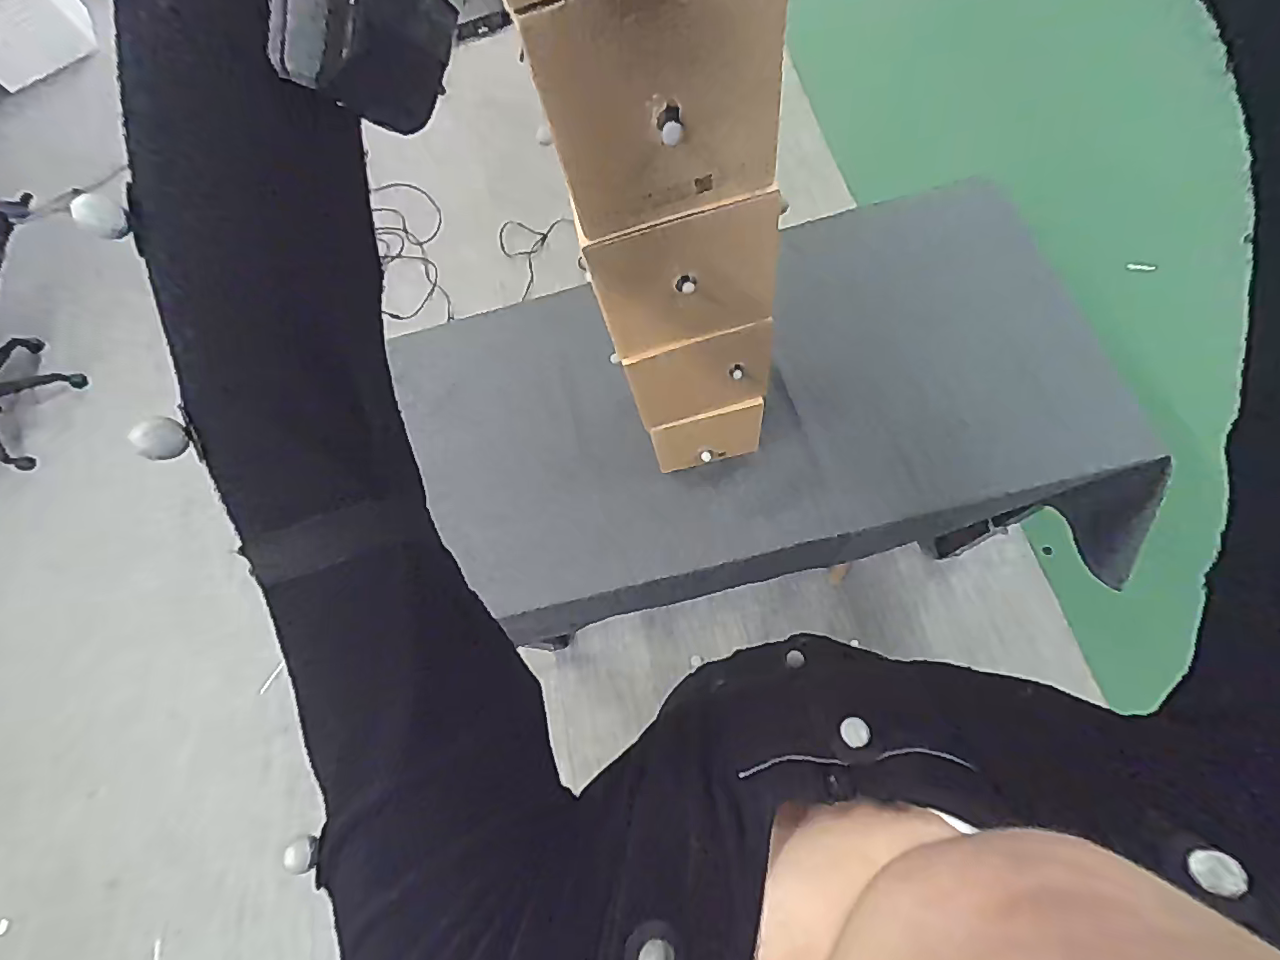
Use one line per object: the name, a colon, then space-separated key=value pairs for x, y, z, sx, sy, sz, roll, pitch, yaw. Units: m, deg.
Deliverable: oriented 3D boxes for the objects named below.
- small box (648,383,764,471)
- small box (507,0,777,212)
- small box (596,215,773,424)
small box: x=0.087 y=-0.136 z=0.846 sx=0.168 sy=0.176 sz=0.179 roll=-13 pitch=68 yaw=4
small box: x=0.001 y=-0.334 z=0.406 sx=0.168 sy=0.176 sz=0.179 roll=-15 pitch=67 yaw=4
small box: x=0.057 y=-0.196 z=0.698 sx=0.179 sy=0.176 sz=0.168 roll=-16 pitch=66 yaw=3
